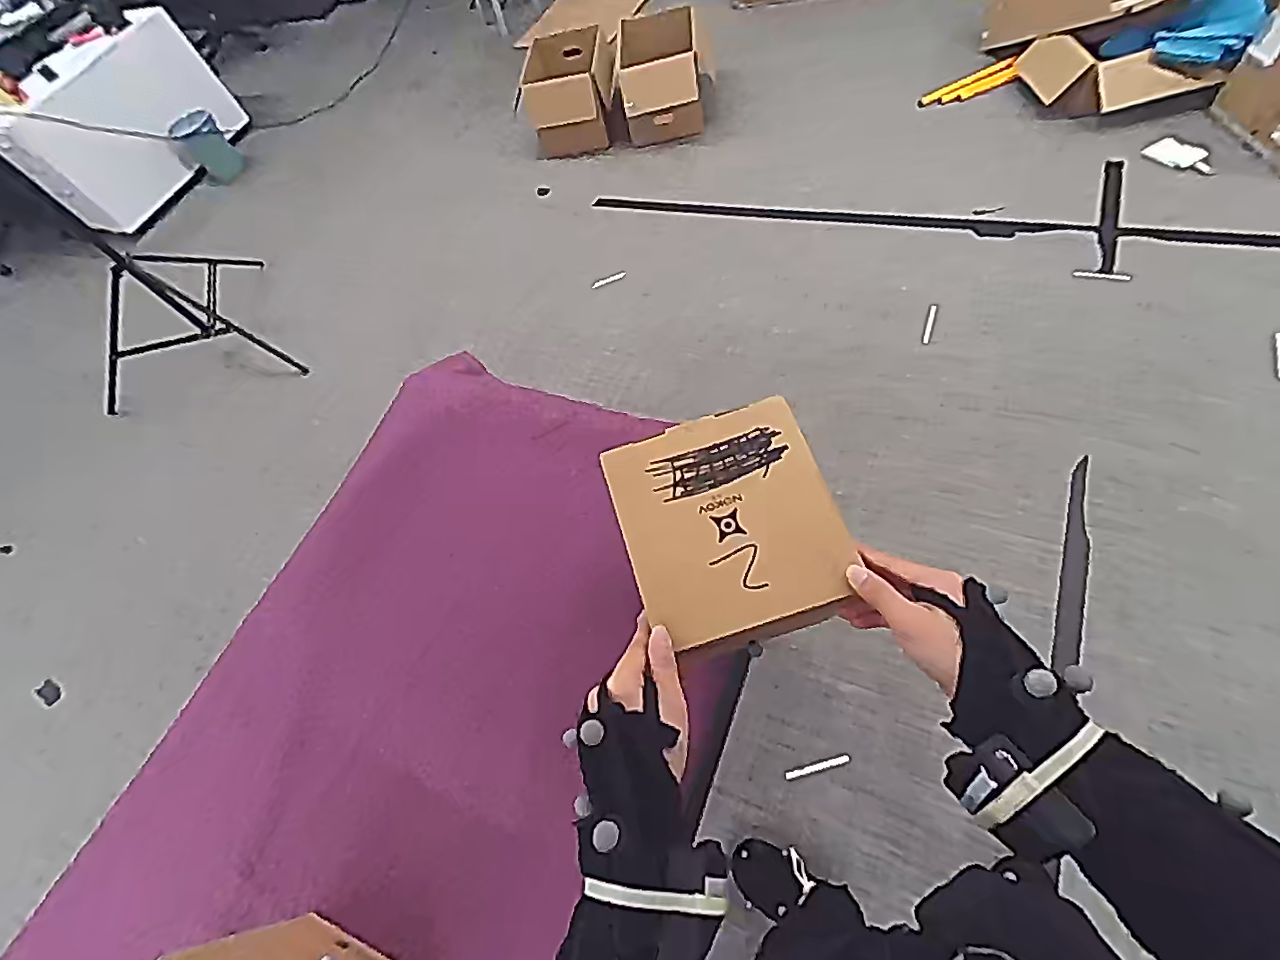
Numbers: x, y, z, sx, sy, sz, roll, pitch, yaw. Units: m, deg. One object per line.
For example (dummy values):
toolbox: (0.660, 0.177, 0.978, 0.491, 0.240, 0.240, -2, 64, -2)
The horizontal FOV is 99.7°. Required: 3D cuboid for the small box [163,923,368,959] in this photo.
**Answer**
small box: (-0.306, 0.495, 0.427, 0.168, 0.176, 0.179, 10, 64, 20)
